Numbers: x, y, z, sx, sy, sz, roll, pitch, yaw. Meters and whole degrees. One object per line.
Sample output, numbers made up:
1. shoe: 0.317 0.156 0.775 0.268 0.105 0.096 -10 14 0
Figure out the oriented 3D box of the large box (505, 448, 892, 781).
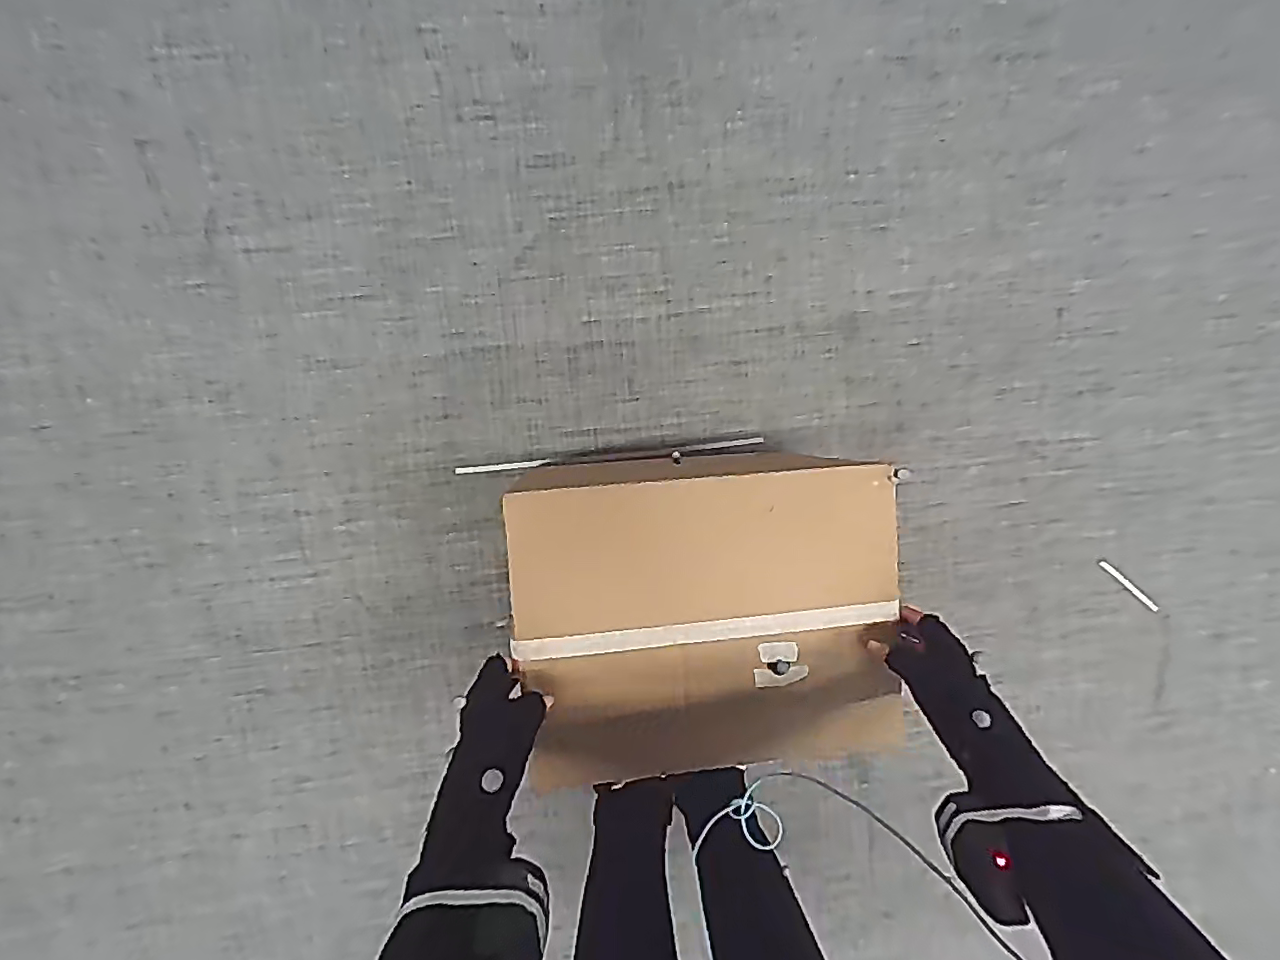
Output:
1. large box: 0.056 0.132 0.718 0.408 0.320 0.320 -5 97 -6
